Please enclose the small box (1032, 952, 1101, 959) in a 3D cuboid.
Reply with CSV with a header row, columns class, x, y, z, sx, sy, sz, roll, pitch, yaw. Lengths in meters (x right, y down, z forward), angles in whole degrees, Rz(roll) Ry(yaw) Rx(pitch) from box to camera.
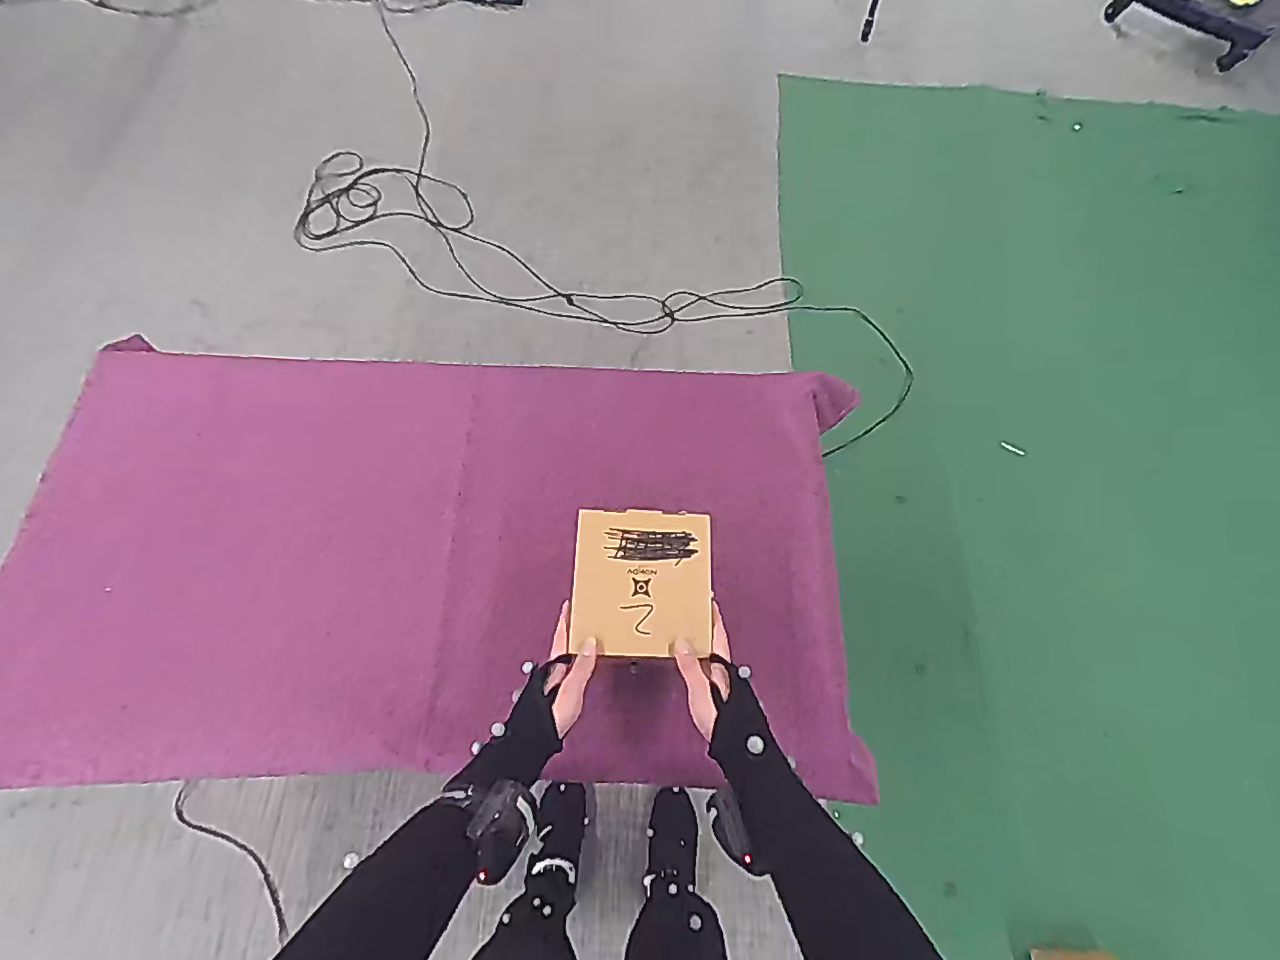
class,x,y,z,sx,sy,sz,roll,pitch,yaw
small box,0.970,1.138,1.145,0.179,0.176,0.168,4,67,-2
